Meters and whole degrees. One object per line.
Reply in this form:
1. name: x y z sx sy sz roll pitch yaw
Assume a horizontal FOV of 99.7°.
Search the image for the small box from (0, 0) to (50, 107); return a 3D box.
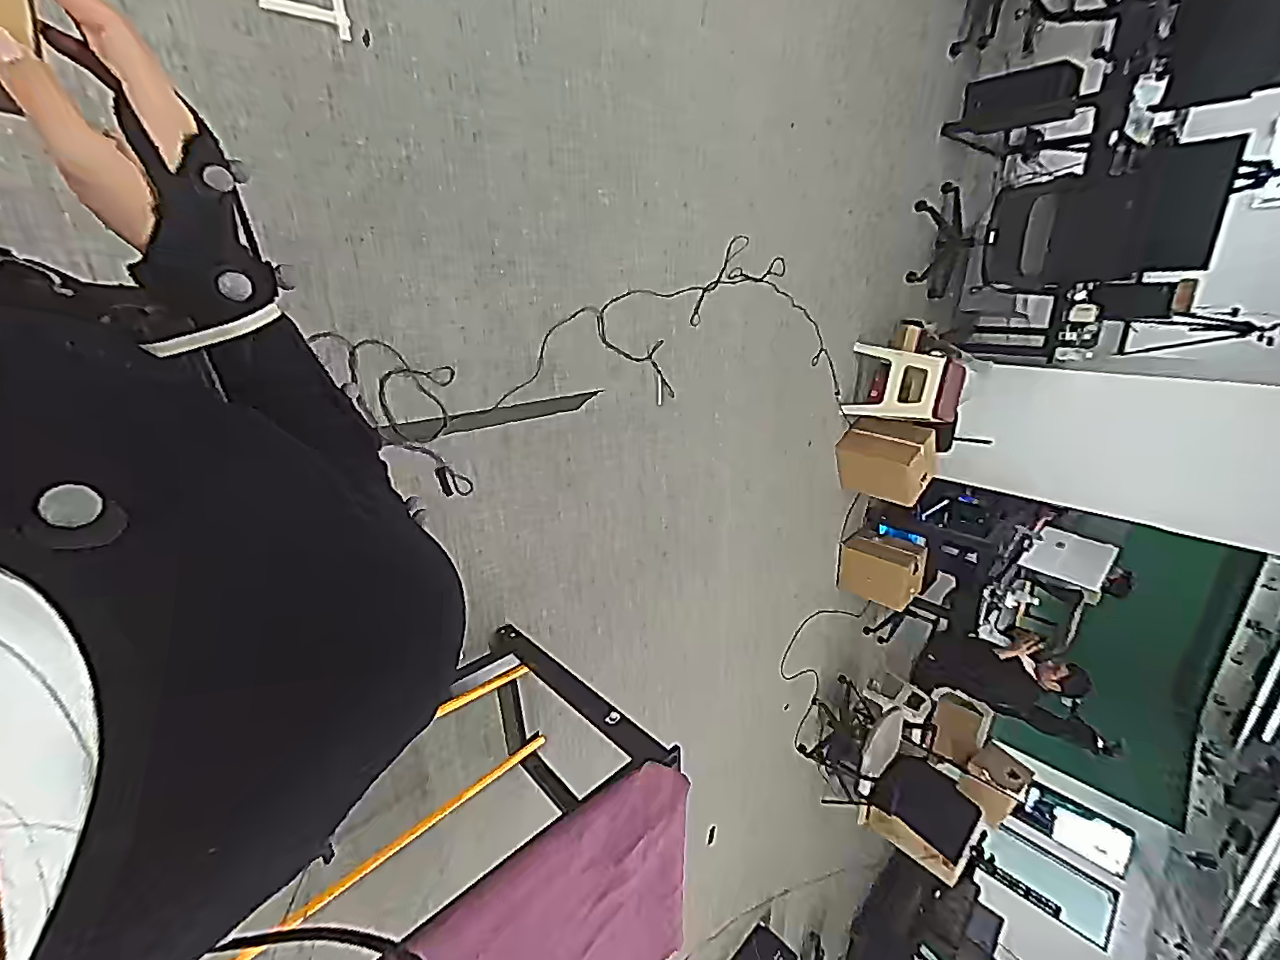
1. small box: -0.371 -0.285 0.219 0.168 0.176 0.179 -7 115 -44
